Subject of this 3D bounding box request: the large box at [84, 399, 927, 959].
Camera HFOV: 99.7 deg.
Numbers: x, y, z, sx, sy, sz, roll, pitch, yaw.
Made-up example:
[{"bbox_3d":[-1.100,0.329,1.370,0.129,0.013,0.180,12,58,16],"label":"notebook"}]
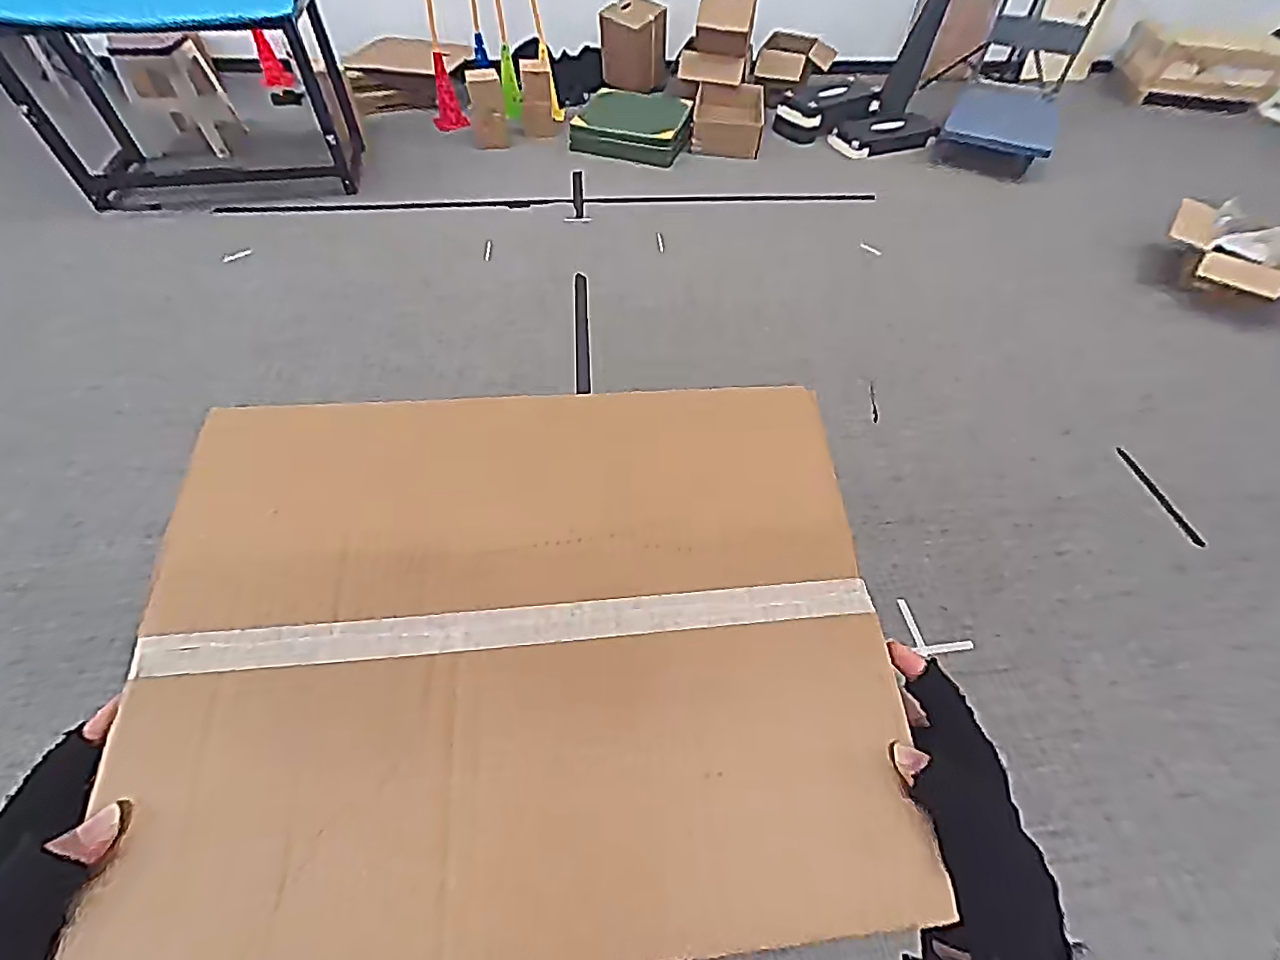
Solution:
[{"bbox_3d":[-0.073,0.155,0.447,0.408,0.320,0.320,-3,64,-5],"label":"large box"}]
